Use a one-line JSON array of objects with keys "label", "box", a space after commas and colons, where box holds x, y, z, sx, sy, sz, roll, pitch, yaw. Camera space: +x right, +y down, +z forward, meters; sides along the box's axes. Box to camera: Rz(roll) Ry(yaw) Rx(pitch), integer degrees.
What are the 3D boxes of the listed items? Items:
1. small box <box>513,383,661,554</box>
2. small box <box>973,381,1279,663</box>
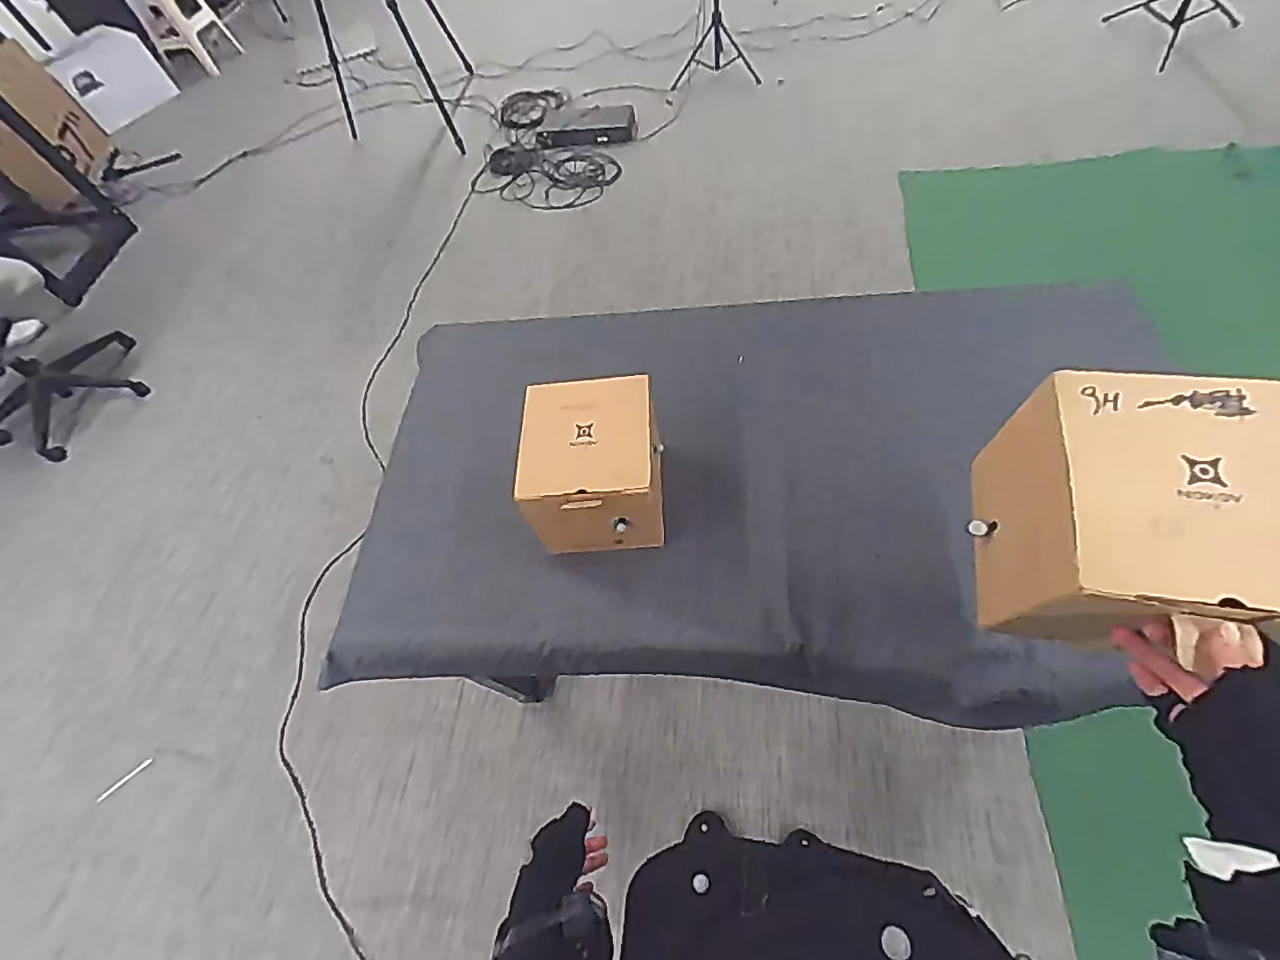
[{"label": "small box", "box": [-0.061, -0.006, 0.738, 0.168, 0.176, 0.179, -4, 57, 5]}, {"label": "small box", "box": [0.392, 0.042, 0.437, 0.168, 0.176, 0.179, 6, 68, 13]}]
